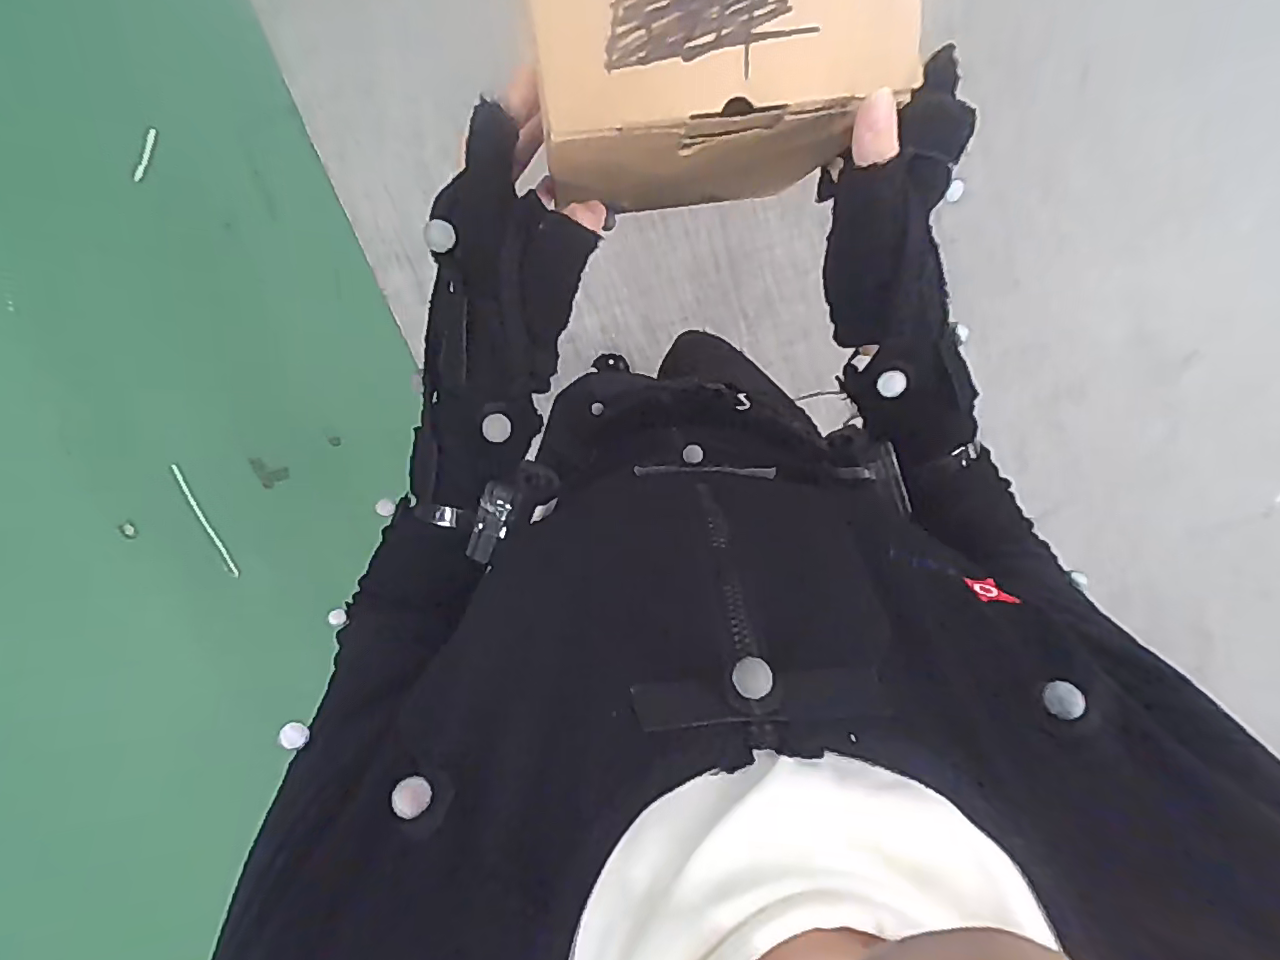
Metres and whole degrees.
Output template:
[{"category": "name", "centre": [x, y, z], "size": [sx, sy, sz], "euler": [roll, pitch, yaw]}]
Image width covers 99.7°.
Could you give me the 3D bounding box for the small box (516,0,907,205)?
[{"category": "small box", "centre": [0.019, -0.262, 0.289], "size": [0.168, 0.176, 0.179], "euler": [-9, 105, -3]}]
